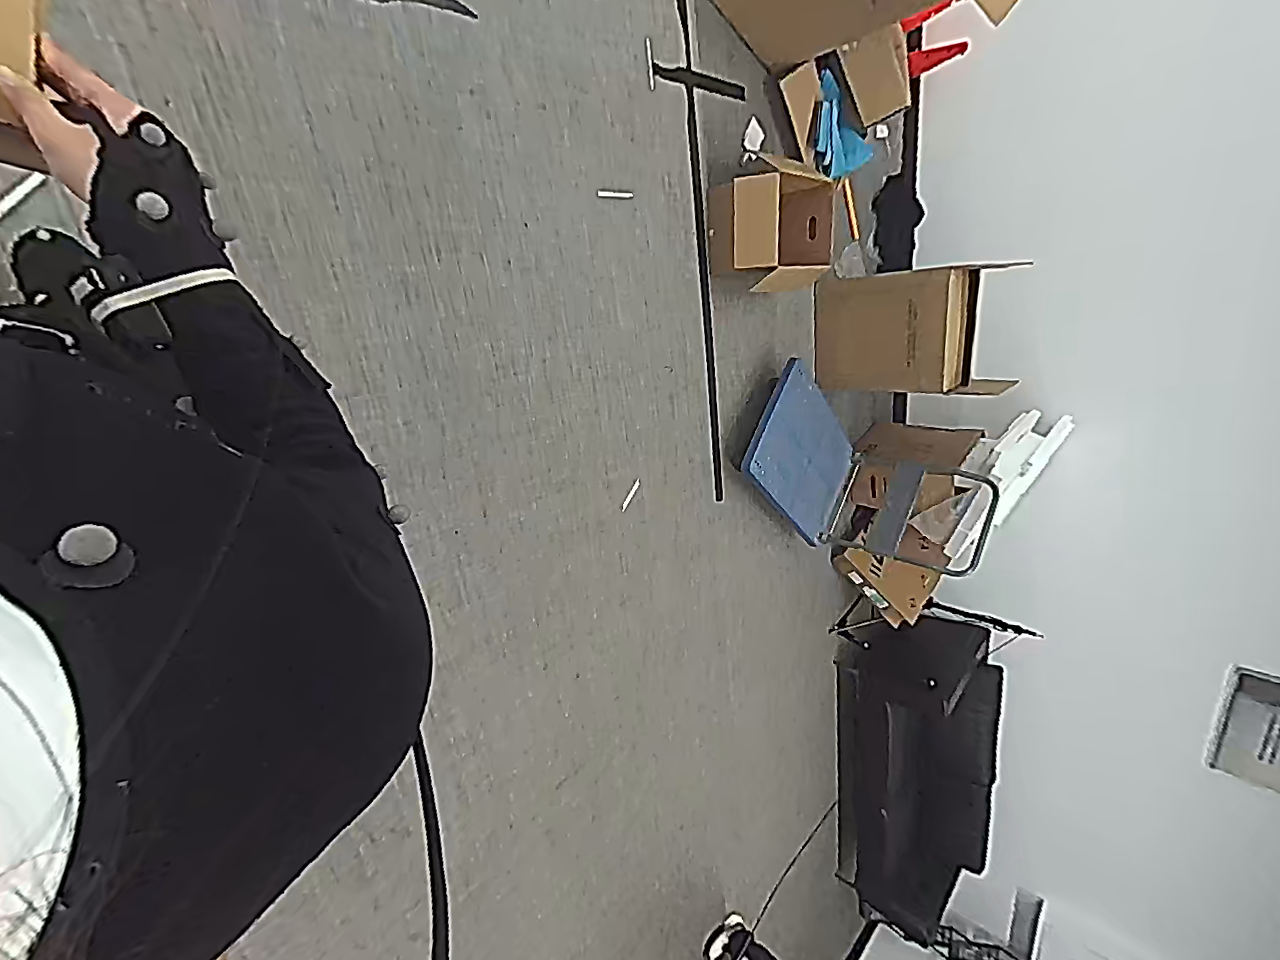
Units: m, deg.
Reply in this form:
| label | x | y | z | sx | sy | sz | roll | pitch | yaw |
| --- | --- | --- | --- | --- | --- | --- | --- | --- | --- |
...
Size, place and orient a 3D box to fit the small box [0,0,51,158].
| label | x | y | z | sx | sy | sz | roll | pitch | yaw |
| --- | --- | --- | --- | --- | --- | --- | --- | --- | --- |
| small box | -0.494 | -0.324 | 0.330 | 0.179 | 0.176 | 0.168 | -2 | 104 | -46 |
